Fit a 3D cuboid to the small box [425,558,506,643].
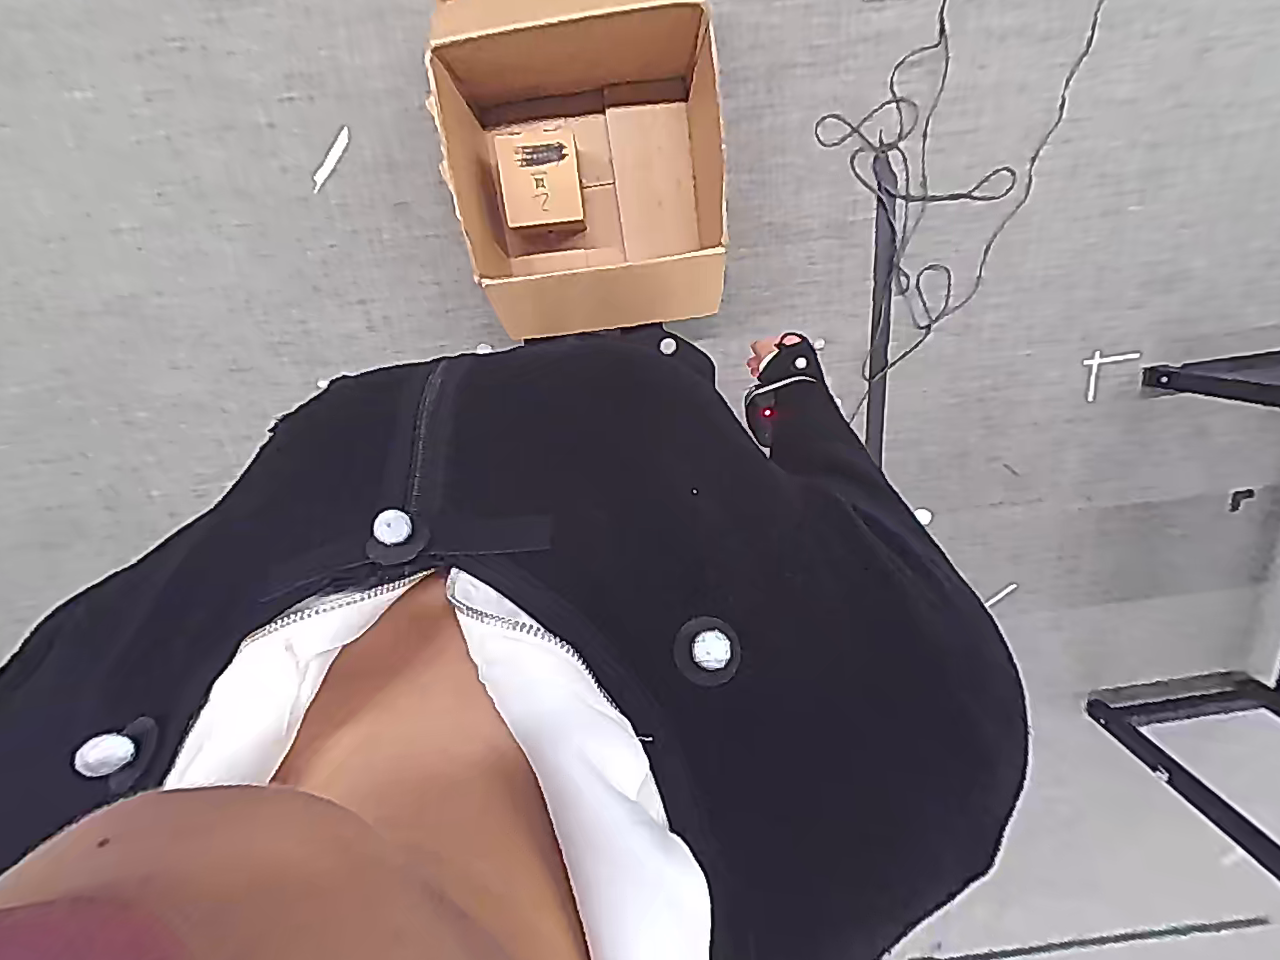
[{"bbox_3d":[-0.468,0.323,1.482,0.179,0.176,0.168,-3,109,-3],"label":"small box"}]
